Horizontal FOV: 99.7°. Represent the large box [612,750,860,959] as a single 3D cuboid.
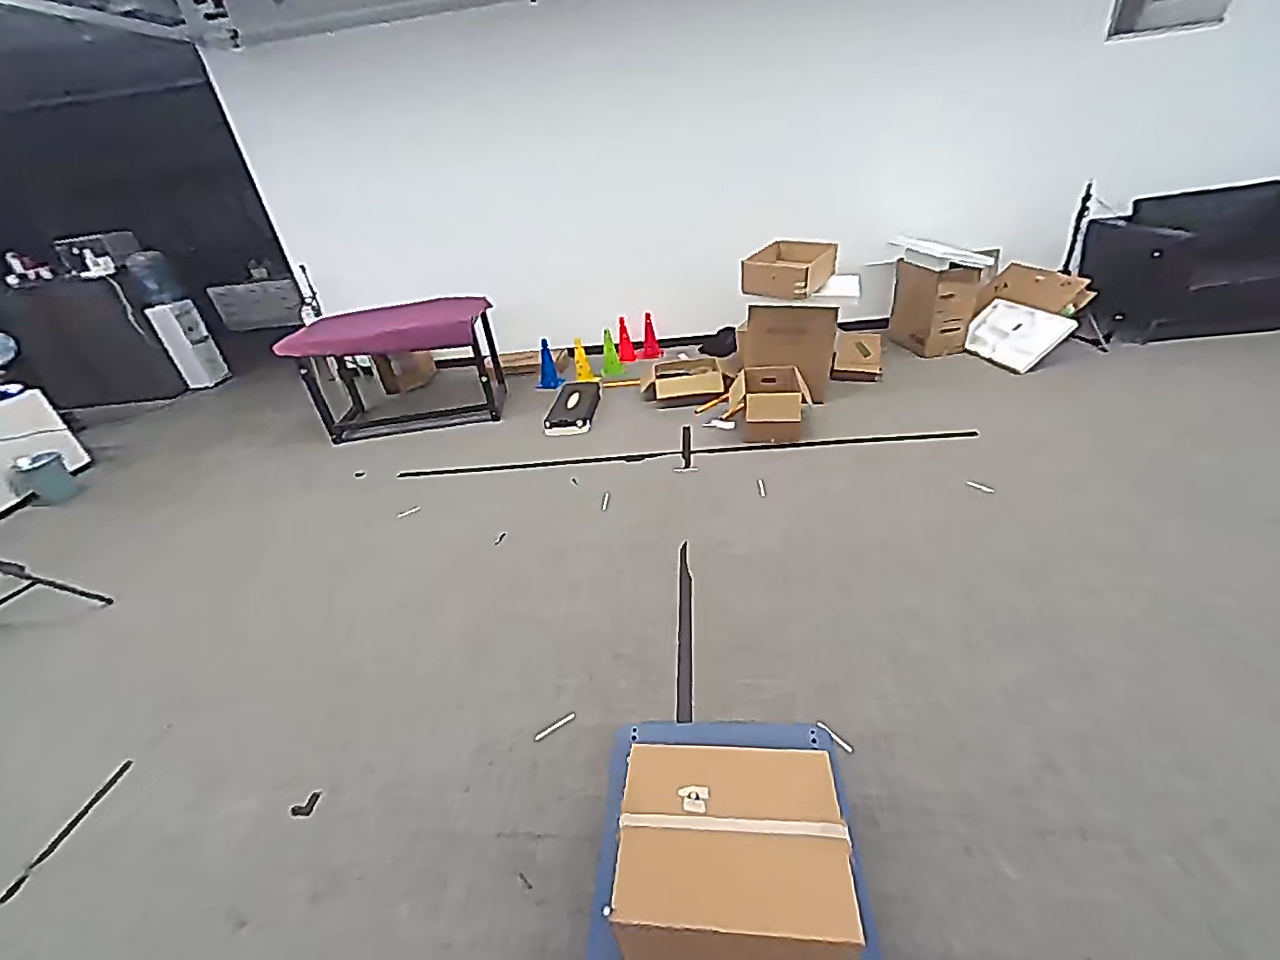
[{"bbox_3d":[0.184,0.769,1.072,0.408,0.320,0.320,-4,31,9],"label":"large box"}]
